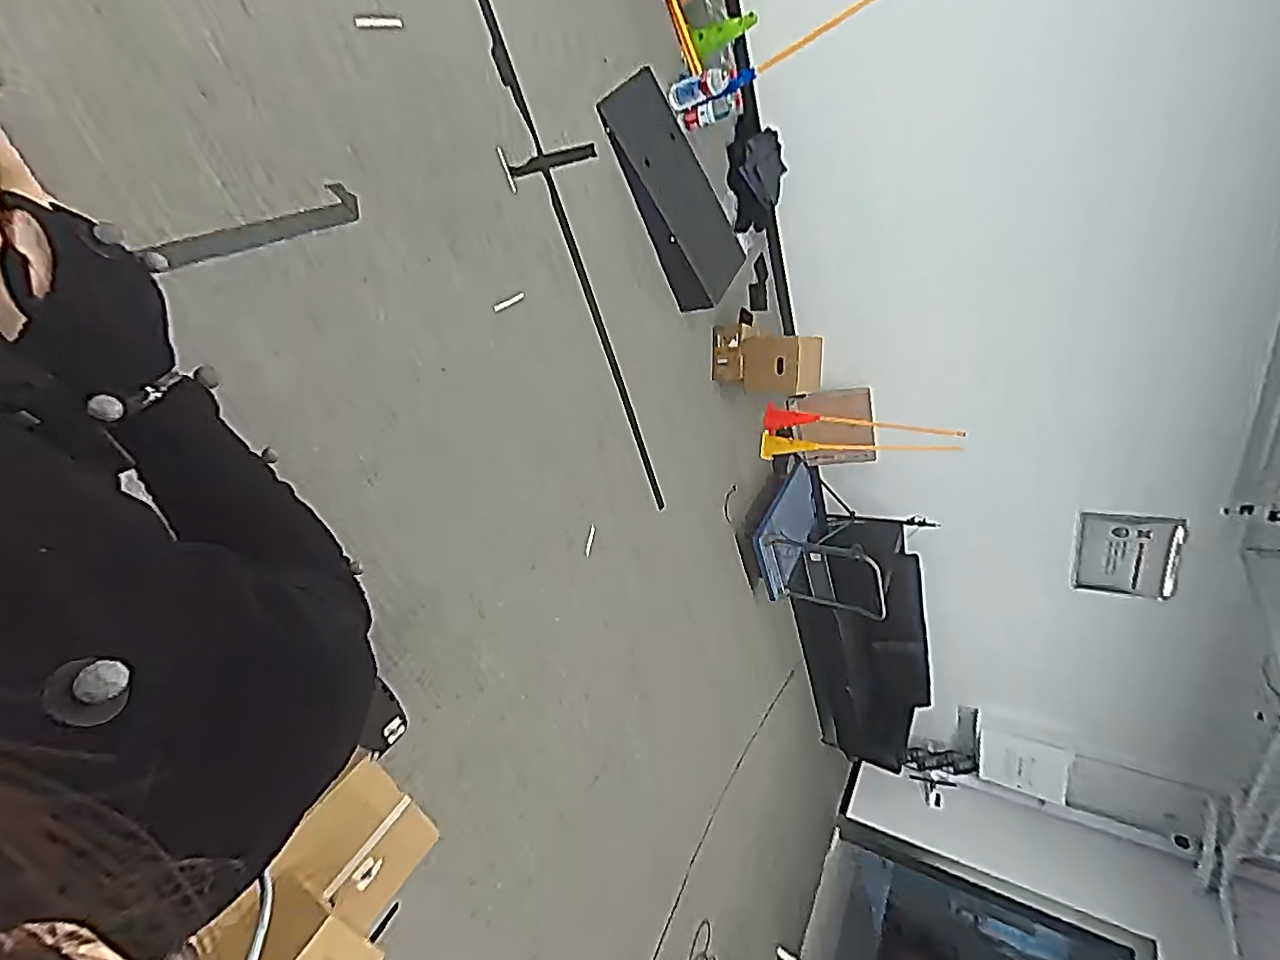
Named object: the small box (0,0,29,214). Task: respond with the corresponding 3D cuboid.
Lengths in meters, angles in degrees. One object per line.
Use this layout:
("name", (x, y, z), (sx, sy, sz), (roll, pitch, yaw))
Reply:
("small box", (-0.434, -0.235, 0.246), (0.179, 0.176, 0.168), (-12, 116, -54))

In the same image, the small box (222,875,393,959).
("small box", (-0.557, 0.809, 0.889), (0.179, 0.176, 0.168), (-48, 128, -42))

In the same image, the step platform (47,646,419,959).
("step platform", (-0.873, 0.720, 1.269), (0.684, 0.204, 0.286), (-42, 125, -45))

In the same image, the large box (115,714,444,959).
("large box", (-0.703, 0.775, 1.102), (0.408, 0.320, 0.320), (-48, 130, -42))
